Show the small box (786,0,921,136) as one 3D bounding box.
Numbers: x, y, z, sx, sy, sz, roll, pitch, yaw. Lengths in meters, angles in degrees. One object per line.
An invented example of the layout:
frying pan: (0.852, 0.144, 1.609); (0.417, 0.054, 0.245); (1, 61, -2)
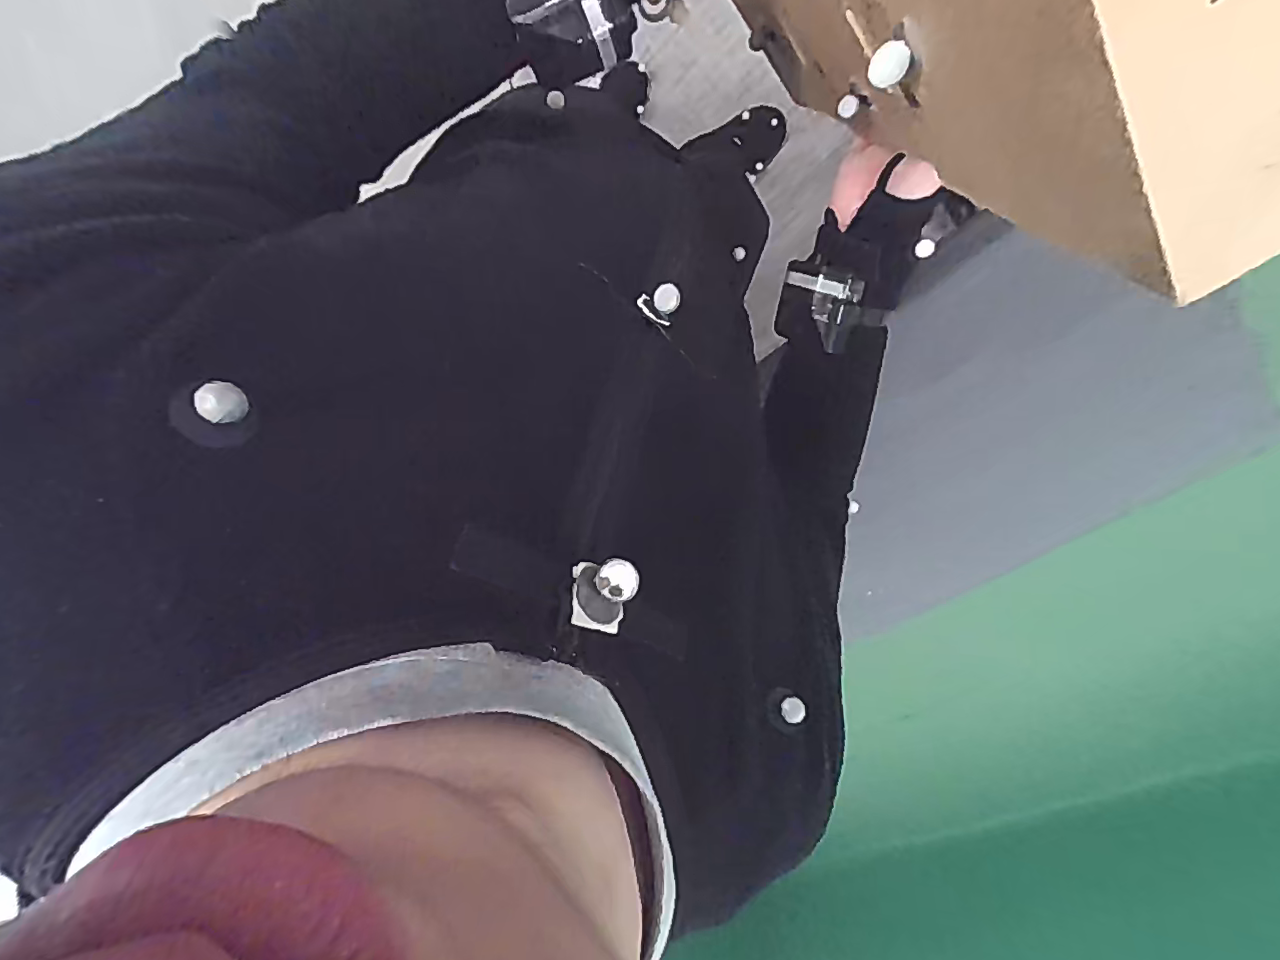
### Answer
small box: (0.173, -0.306, 0.276); (0.168, 0.176, 0.179); (35, 120, -28)

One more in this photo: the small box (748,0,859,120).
small box: (0.172, -0.413, 0.399); (0.179, 0.176, 0.168); (-37, 122, 26)

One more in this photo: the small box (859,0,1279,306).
small box: (0.178, -0.195, 0.155); (0.179, 0.176, 0.168); (-36, 123, 27)
